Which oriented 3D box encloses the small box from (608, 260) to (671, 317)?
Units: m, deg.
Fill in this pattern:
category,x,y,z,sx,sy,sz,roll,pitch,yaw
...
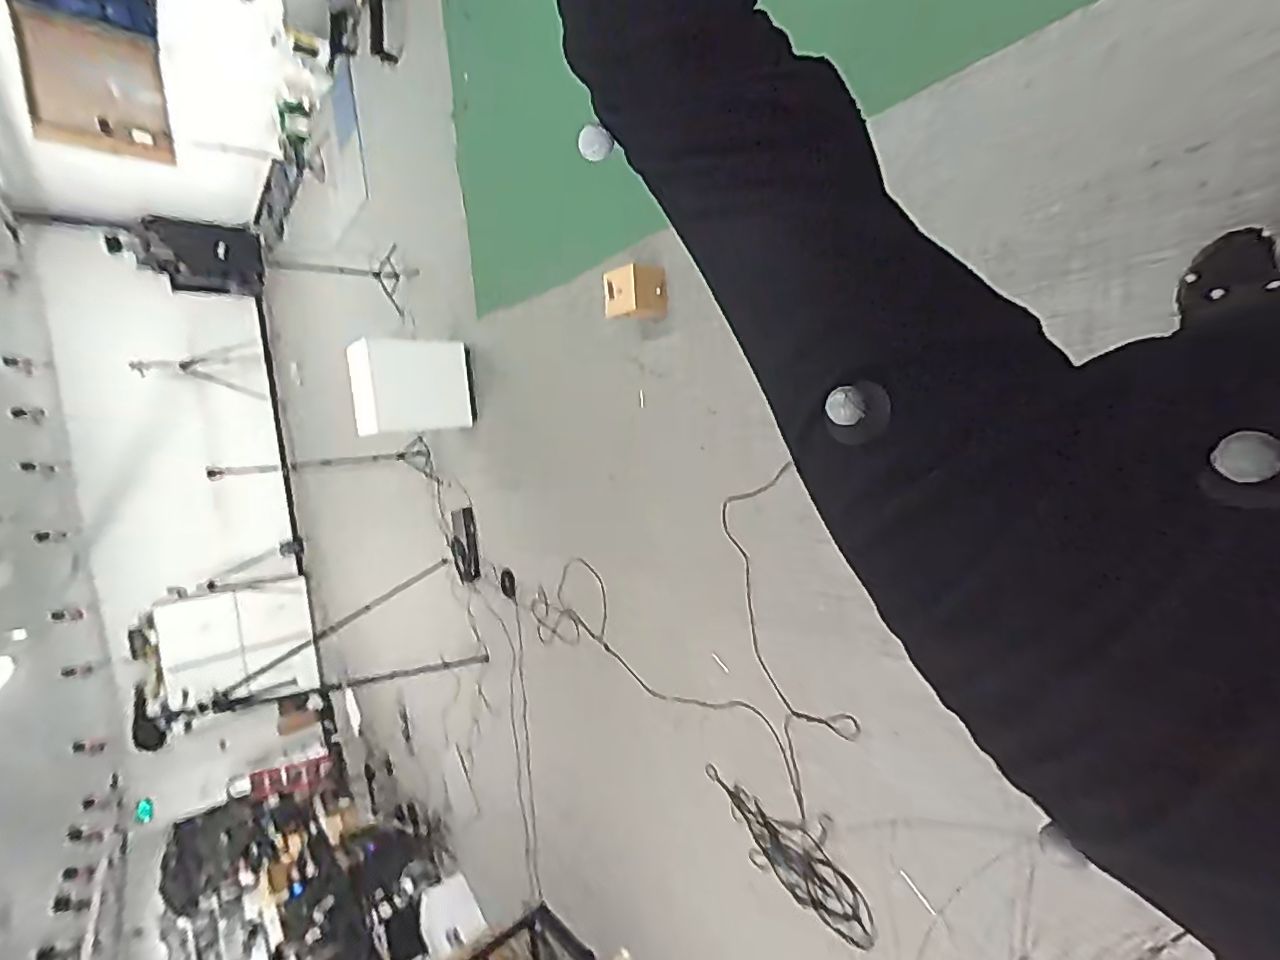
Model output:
category,x,y,z,sx,sy,sz,roll,pitch,yaw
small box,-0.002,-0.724,2.063,0.179,0.176,0.168,4,100,47
